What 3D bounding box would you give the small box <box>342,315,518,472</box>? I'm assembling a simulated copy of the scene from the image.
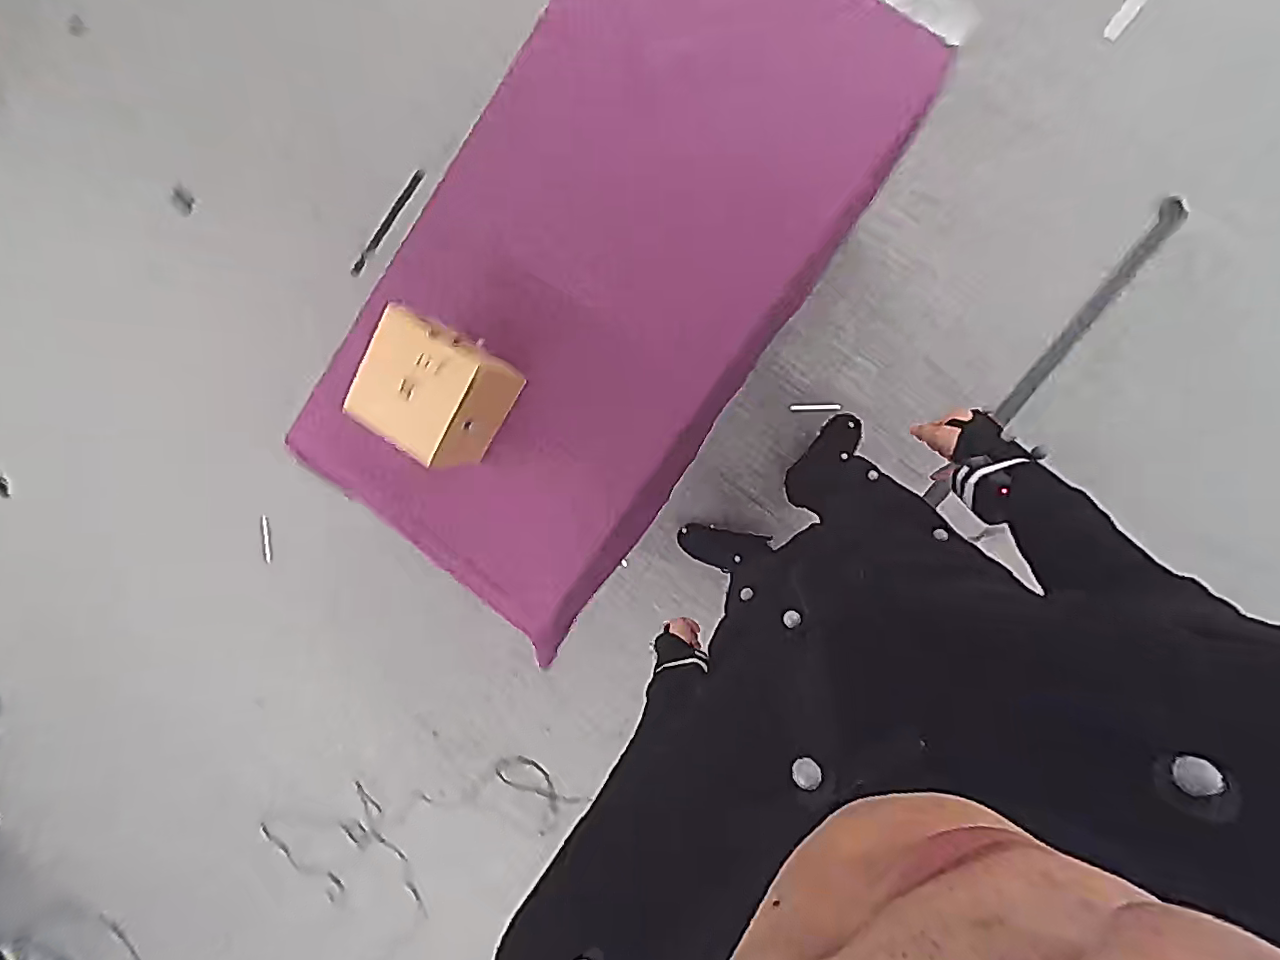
[{"bbox_3d":[-0.323,-0.129,0.869,0.168,0.176,0.179,33,96,5],"label":"small box"}]
